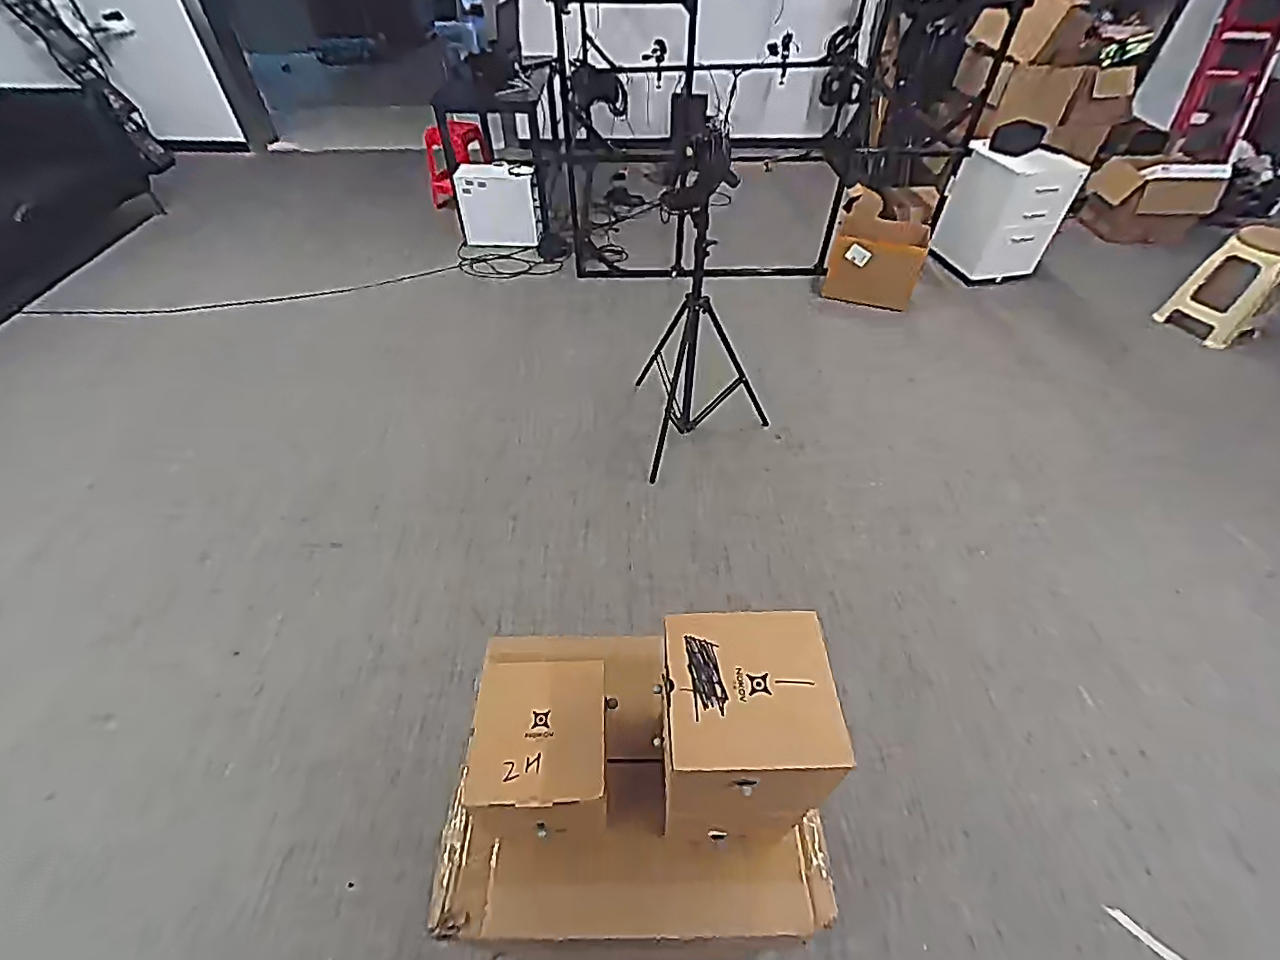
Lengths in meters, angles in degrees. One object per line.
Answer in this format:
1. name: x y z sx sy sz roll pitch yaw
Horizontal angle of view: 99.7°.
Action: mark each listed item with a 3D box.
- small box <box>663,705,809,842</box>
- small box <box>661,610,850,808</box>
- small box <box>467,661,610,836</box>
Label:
1. small box: 0.117 0.379 0.745 0.168 0.176 0.179 -3 48 0
2. small box: 0.116 0.266 0.624 0.179 0.176 0.168 -2 47 0
3. small box: -0.127 0.371 0.749 0.168 0.176 0.179 -1 47 -2
